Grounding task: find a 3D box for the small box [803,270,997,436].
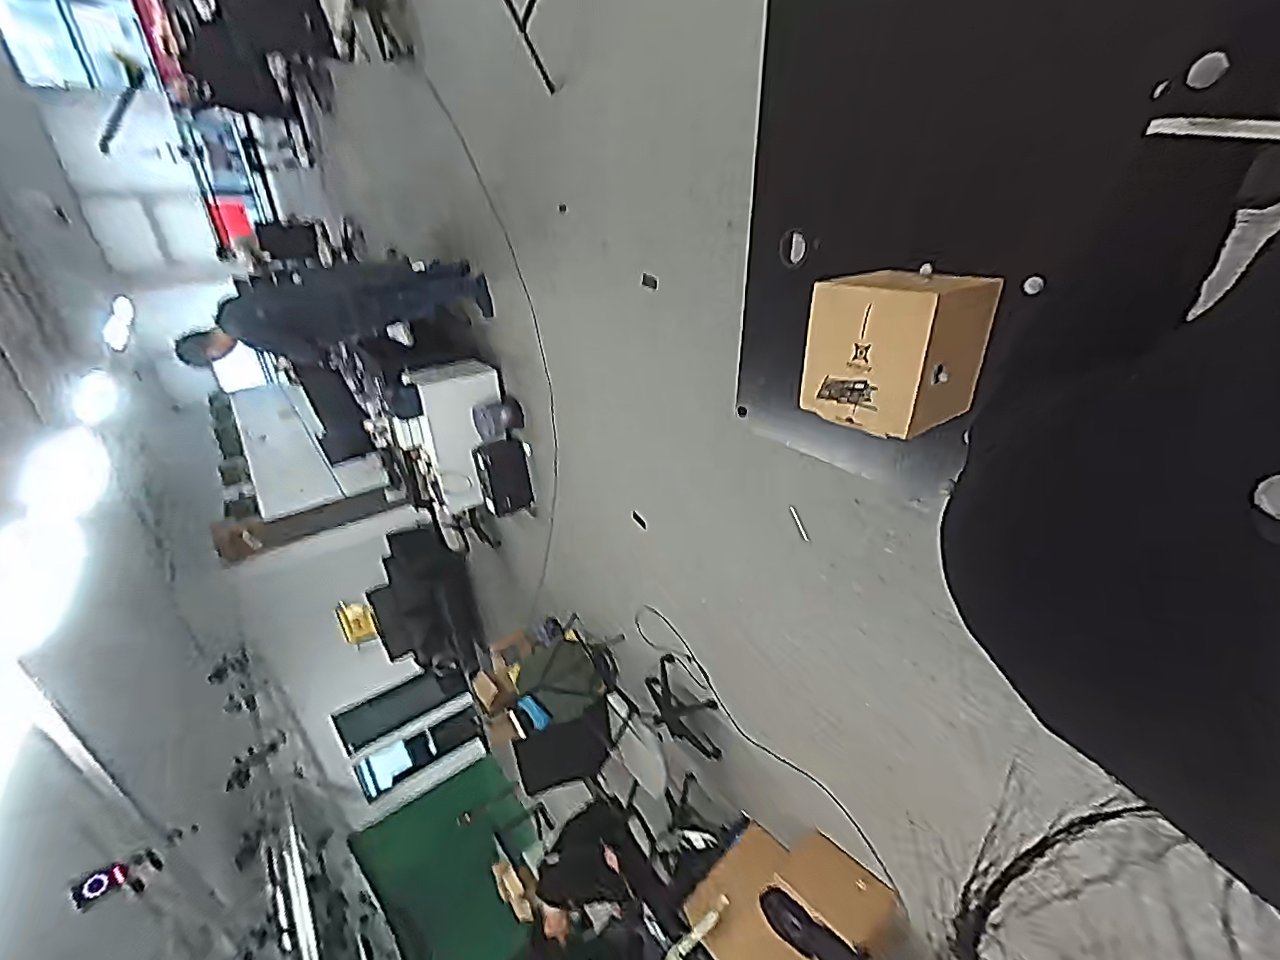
[{"bbox_3d":[0.350,-0.182,0.739,0.168,0.176,0.179,30,130,46],"label":"small box"}]
